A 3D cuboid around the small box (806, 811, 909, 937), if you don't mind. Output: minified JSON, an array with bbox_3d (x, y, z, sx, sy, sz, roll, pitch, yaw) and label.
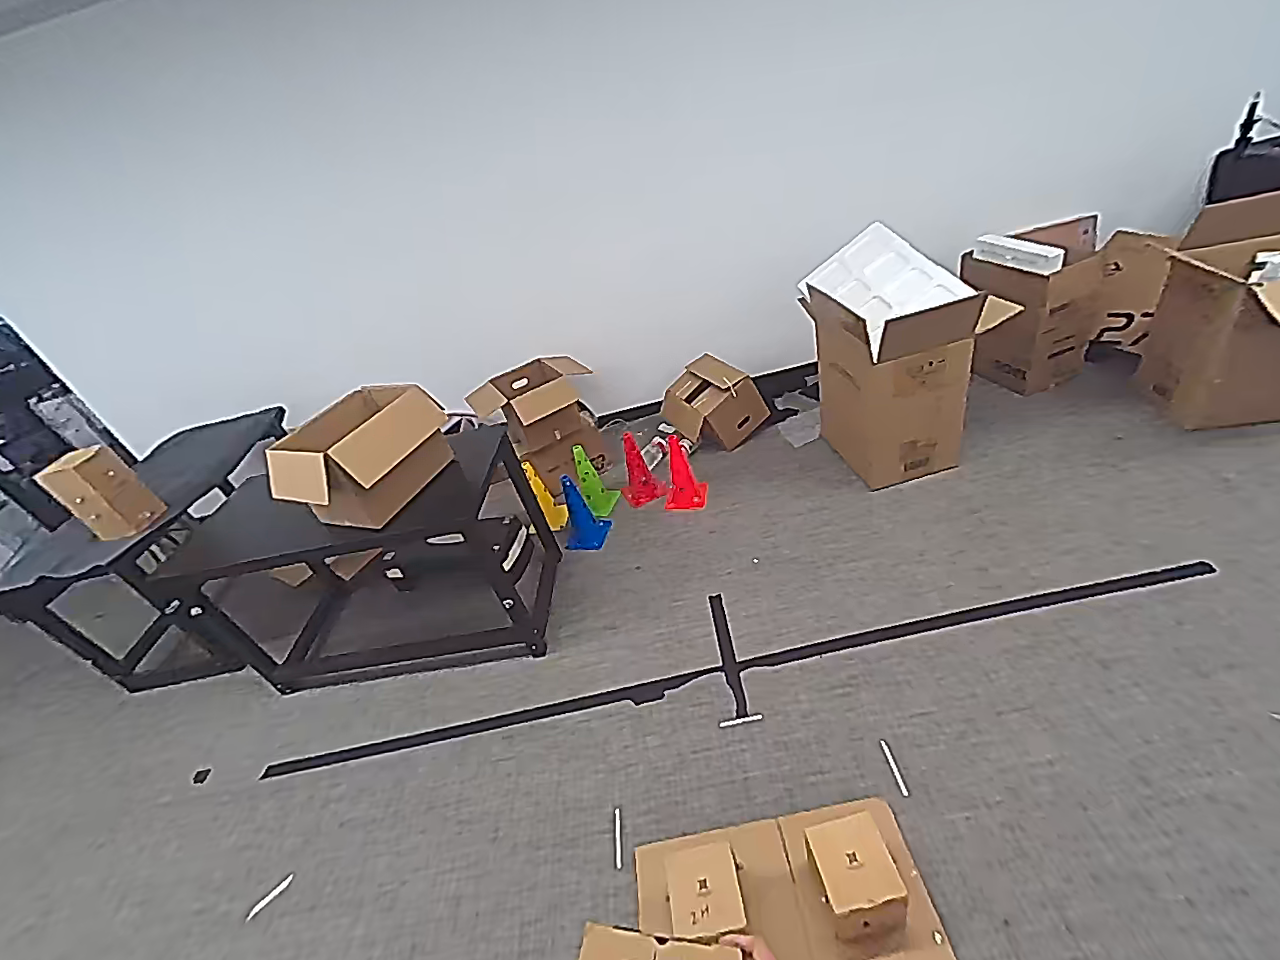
[{"bbox_3d":[0.502,0.920,1.265,0.168,0.176,0.179,-16,35,1],"label":"small box"}]

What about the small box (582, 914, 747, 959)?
[{"bbox_3d":[0.022,0.577,0.540,0.168,0.176,0.179,0,39,13],"label":"small box"}]

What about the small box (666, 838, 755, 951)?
[{"bbox_3d":[0.167,0.997,1.286,0.168,0.176,0.179,-15,35,4],"label":"small box"}]
